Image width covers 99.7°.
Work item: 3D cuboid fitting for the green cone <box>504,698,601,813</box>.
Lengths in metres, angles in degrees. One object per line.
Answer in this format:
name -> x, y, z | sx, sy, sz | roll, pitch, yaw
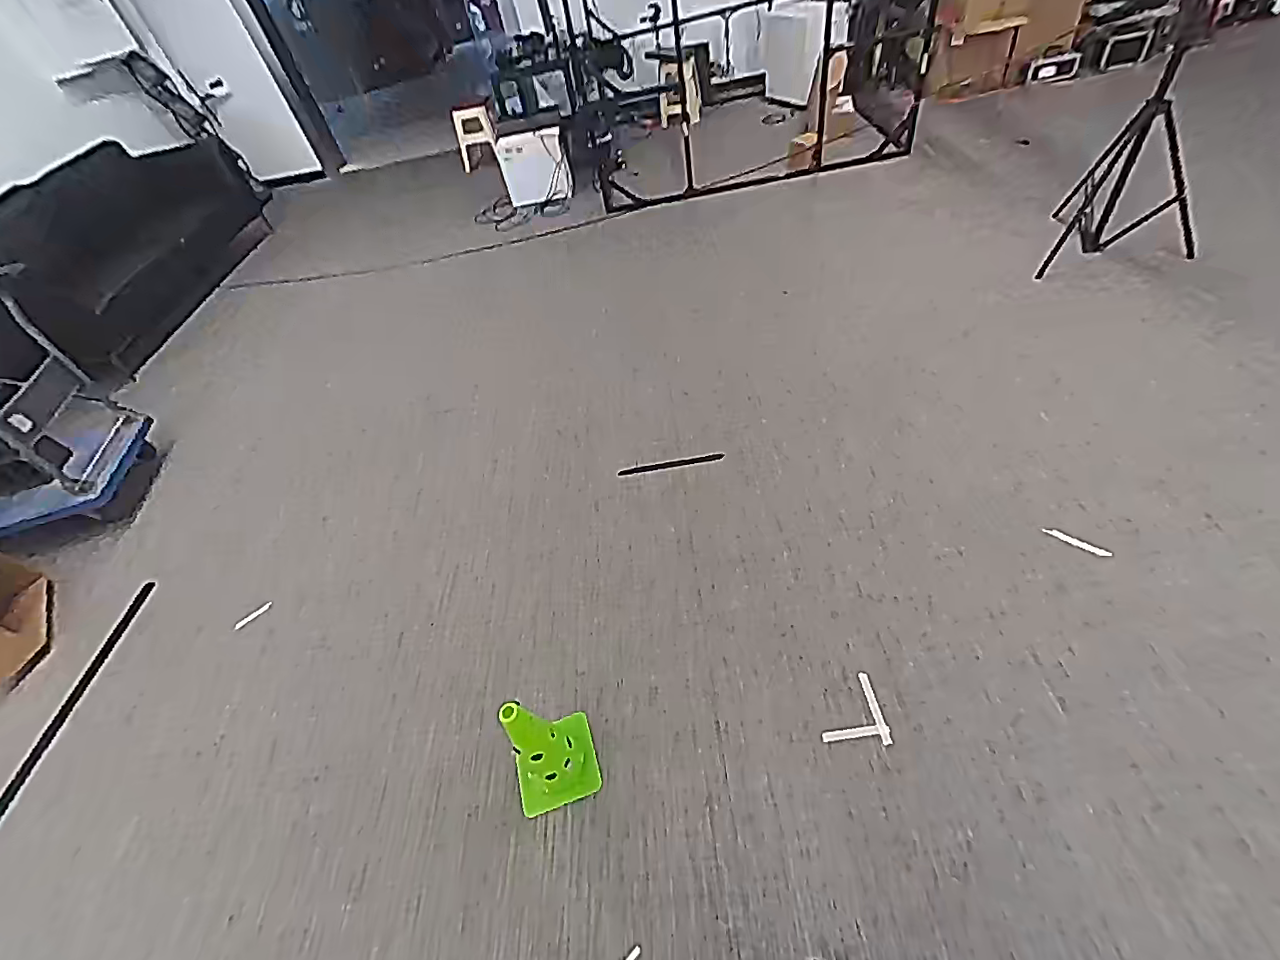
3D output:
green cone -> -0.237, 0.591, 1.236 | 0.202, 0.368, 0.200 | -19, 47, -6
